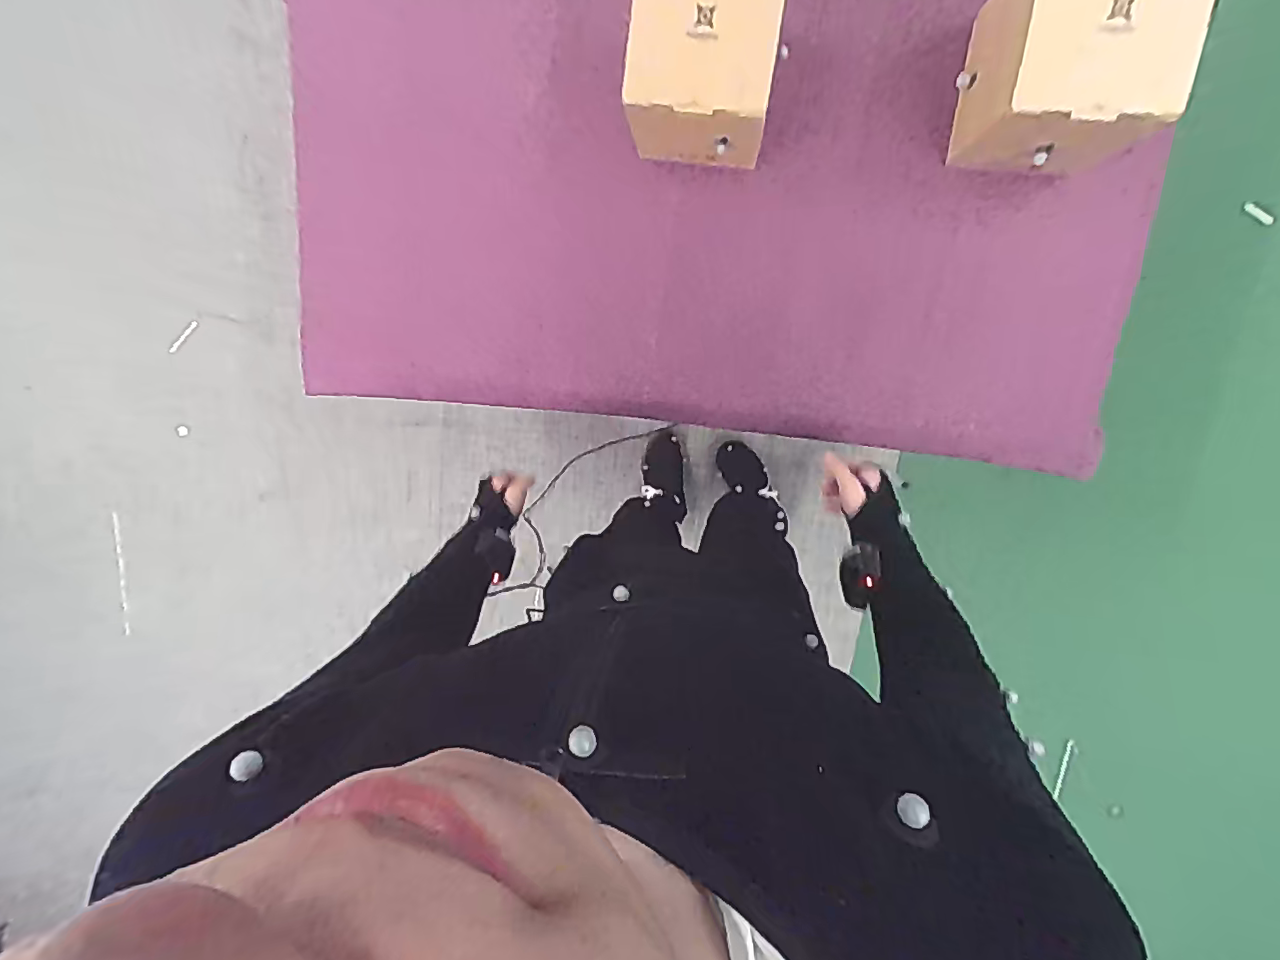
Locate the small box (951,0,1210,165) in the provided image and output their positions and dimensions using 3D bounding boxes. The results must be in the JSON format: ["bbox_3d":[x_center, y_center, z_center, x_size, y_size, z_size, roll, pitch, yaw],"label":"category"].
[{"bbox_3d":[0.481,-0.479,0.612,0.168,0.176,0.179,7,103,7],"label":"small box"}]

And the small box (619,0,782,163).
[{"bbox_3d":[0.078,-0.516,0.664,0.168,0.176,0.179,9,102,6],"label":"small box"}]
